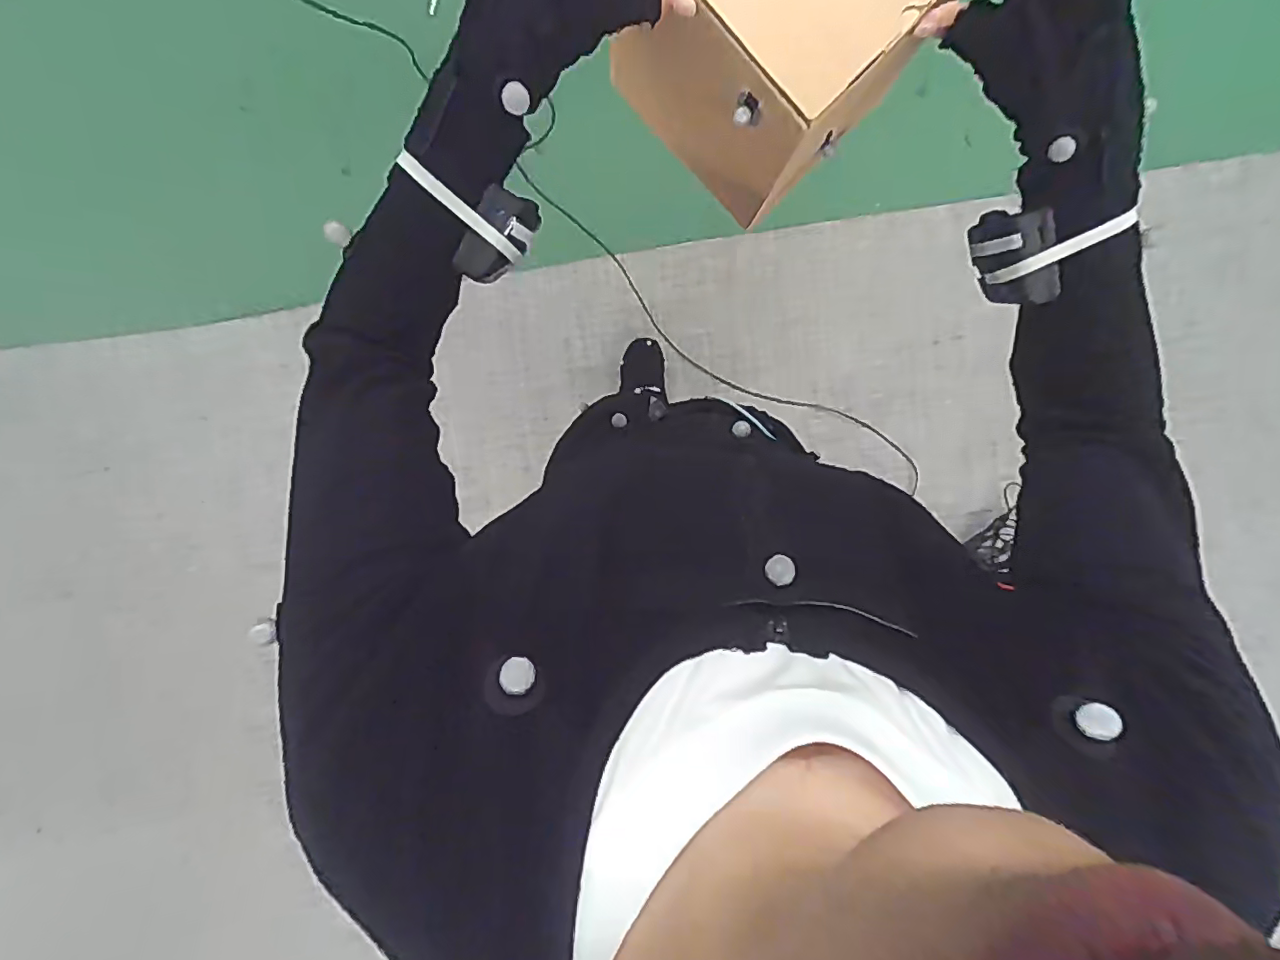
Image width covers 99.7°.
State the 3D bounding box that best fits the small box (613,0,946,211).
[{"bbox_3d":[0.092,-0.339,0.391,0.168,0.176,0.179,-44,97,2],"label":"small box"}]
